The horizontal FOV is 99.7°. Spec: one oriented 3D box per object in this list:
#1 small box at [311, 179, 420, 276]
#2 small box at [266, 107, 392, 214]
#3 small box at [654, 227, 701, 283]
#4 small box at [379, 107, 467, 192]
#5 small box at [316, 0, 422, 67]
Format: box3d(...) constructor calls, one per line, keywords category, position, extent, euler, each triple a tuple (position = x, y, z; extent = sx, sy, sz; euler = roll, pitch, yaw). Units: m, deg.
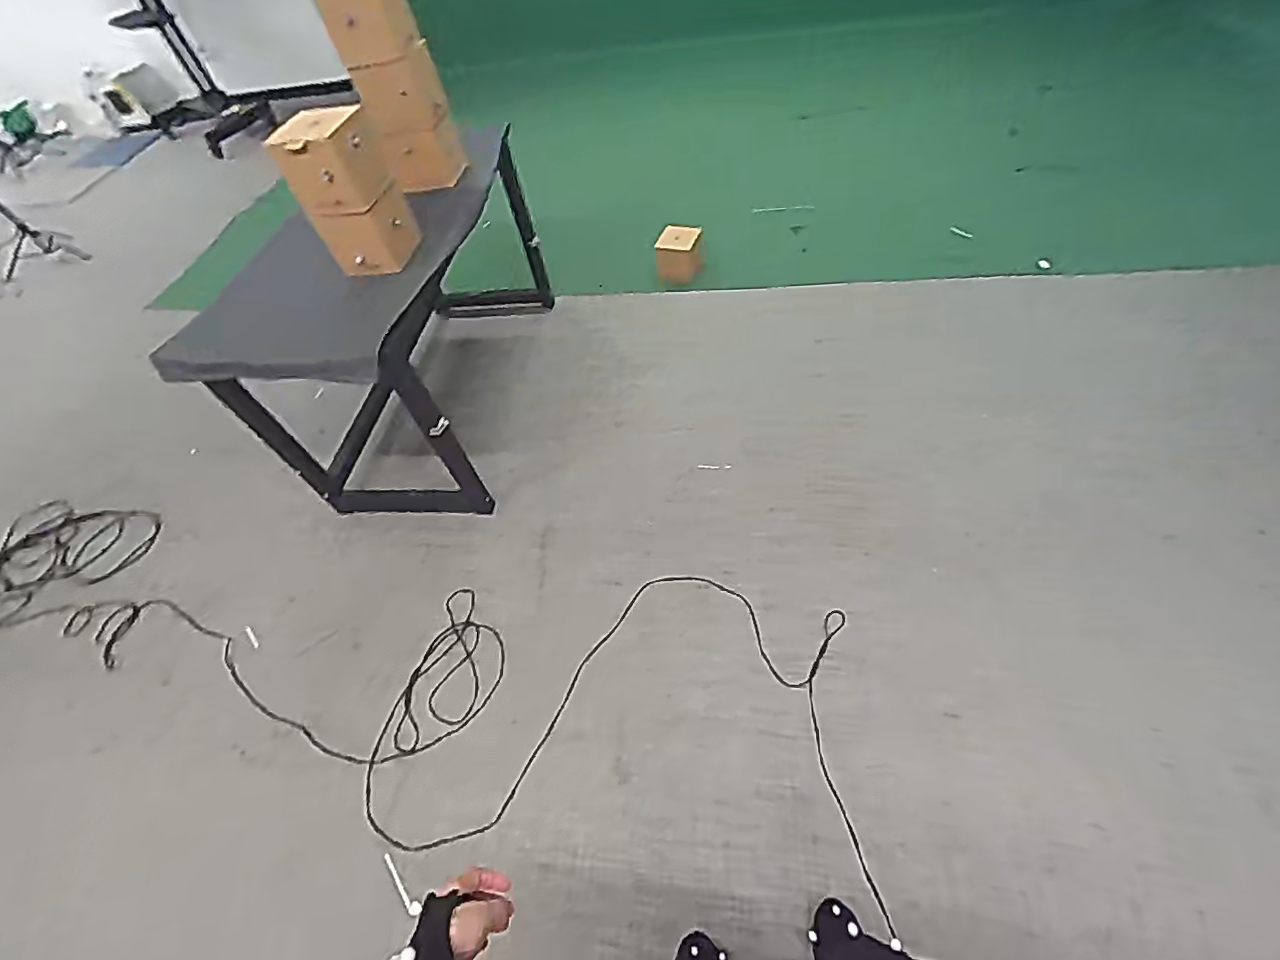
box3d(category="small box", position=(-0.707, -0.660, 1.418), extent=(0.168, 0.176, 0.179), euler=(1, 55, 10))
box3d(category="small box", position=(-0.725, -0.753, 1.286), extent=(0.168, 0.176, 0.179), euler=(2, 54, 10))
box3d(category="small box", position=(0.177, -1.022, 2.464), extent=(0.168, 0.176, 0.179), euler=(15, 57, 17))
box3d(category="small box", position=(-0.662, -1.021, 1.677), extent=(0.179, 0.176, 0.168), euler=(0, 54, 10))
box3d(category="small box", position=(-0.706, -1.211, 1.413), extent=(0.179, 0.176, 0.168), euler=(-3, 54, 8))
